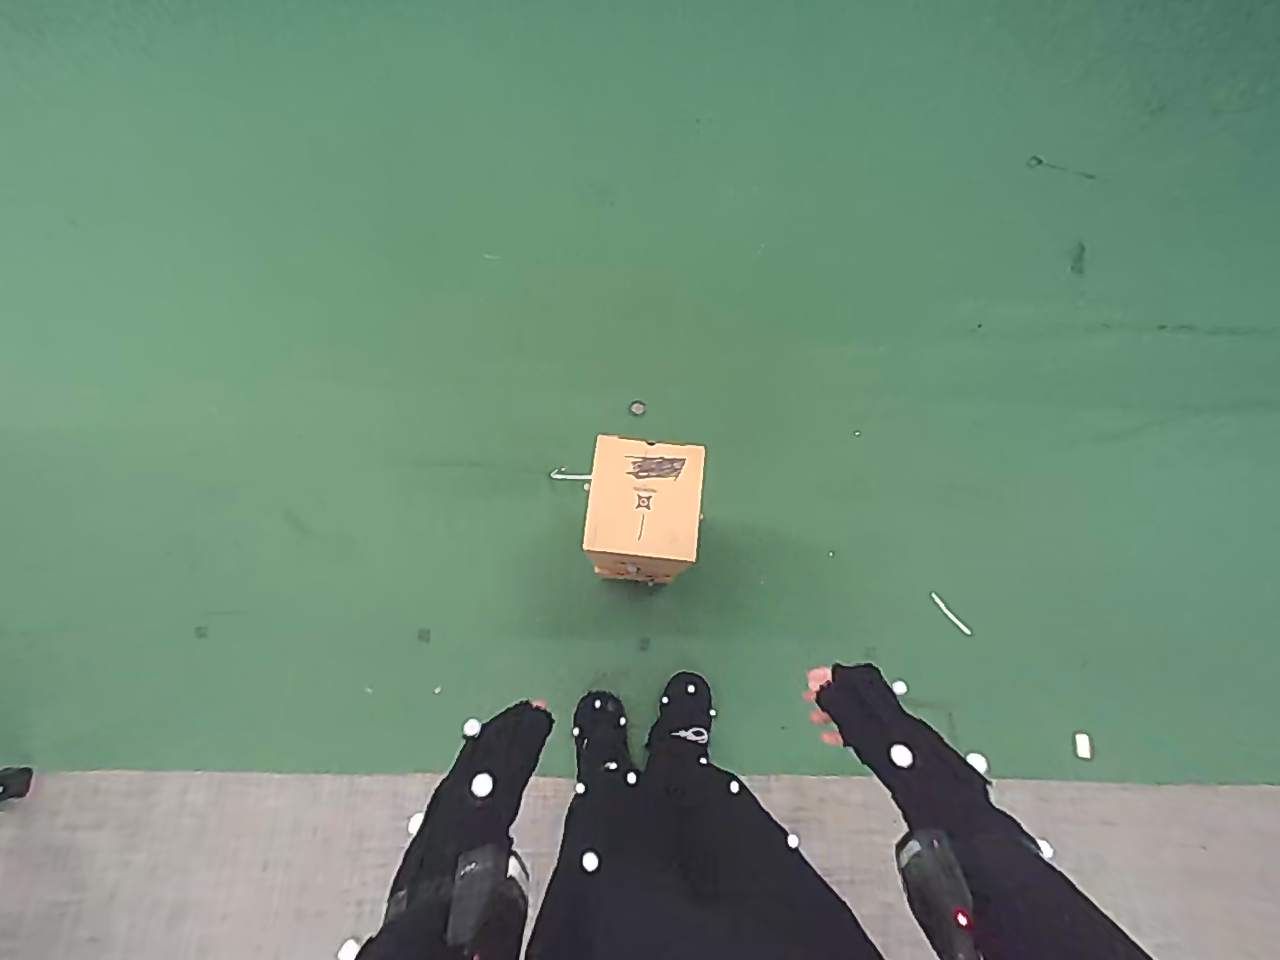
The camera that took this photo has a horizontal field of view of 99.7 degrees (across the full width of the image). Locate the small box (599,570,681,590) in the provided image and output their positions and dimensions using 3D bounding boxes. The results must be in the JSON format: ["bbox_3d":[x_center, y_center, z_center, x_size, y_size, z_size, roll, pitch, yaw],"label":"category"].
[{"bbox_3d":[0.007,0.140,1.165,0.168,0.176,0.179,7,75,-1],"label":"small box"}]

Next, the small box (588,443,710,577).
[{"bbox_3d":[0.013,0.055,0.867,0.168,0.176,0.179,6,77,1],"label":"small box"}]
